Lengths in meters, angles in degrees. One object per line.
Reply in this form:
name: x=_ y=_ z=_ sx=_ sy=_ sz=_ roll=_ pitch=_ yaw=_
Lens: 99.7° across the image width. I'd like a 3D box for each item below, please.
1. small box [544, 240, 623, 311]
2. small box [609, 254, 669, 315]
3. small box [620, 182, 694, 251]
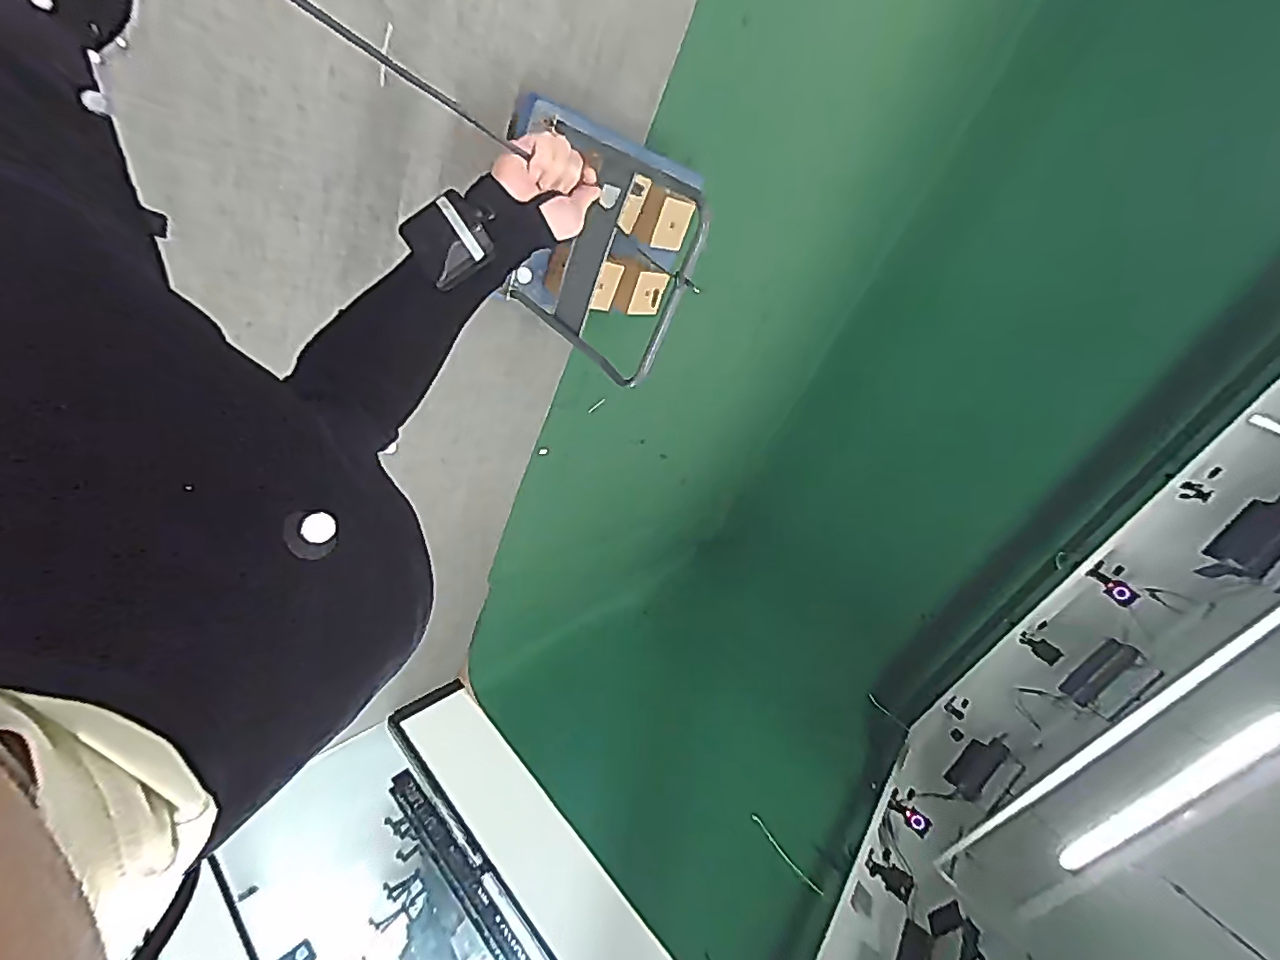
small box: x=-0.195 y=-0.703 z=1.857 sx=0.179 sy=0.176 sz=0.168 roll=-13 pitch=136 yaw=-51
small box: x=-0.028 y=-0.746 z=2.065 sx=0.179 sy=0.176 sz=0.168 roll=-17 pitch=139 yaw=-47
small box: x=0.056 y=-0.944 z=1.933 sx=0.179 sy=0.176 sz=0.168 roll=-18 pitch=141 yaw=-48
